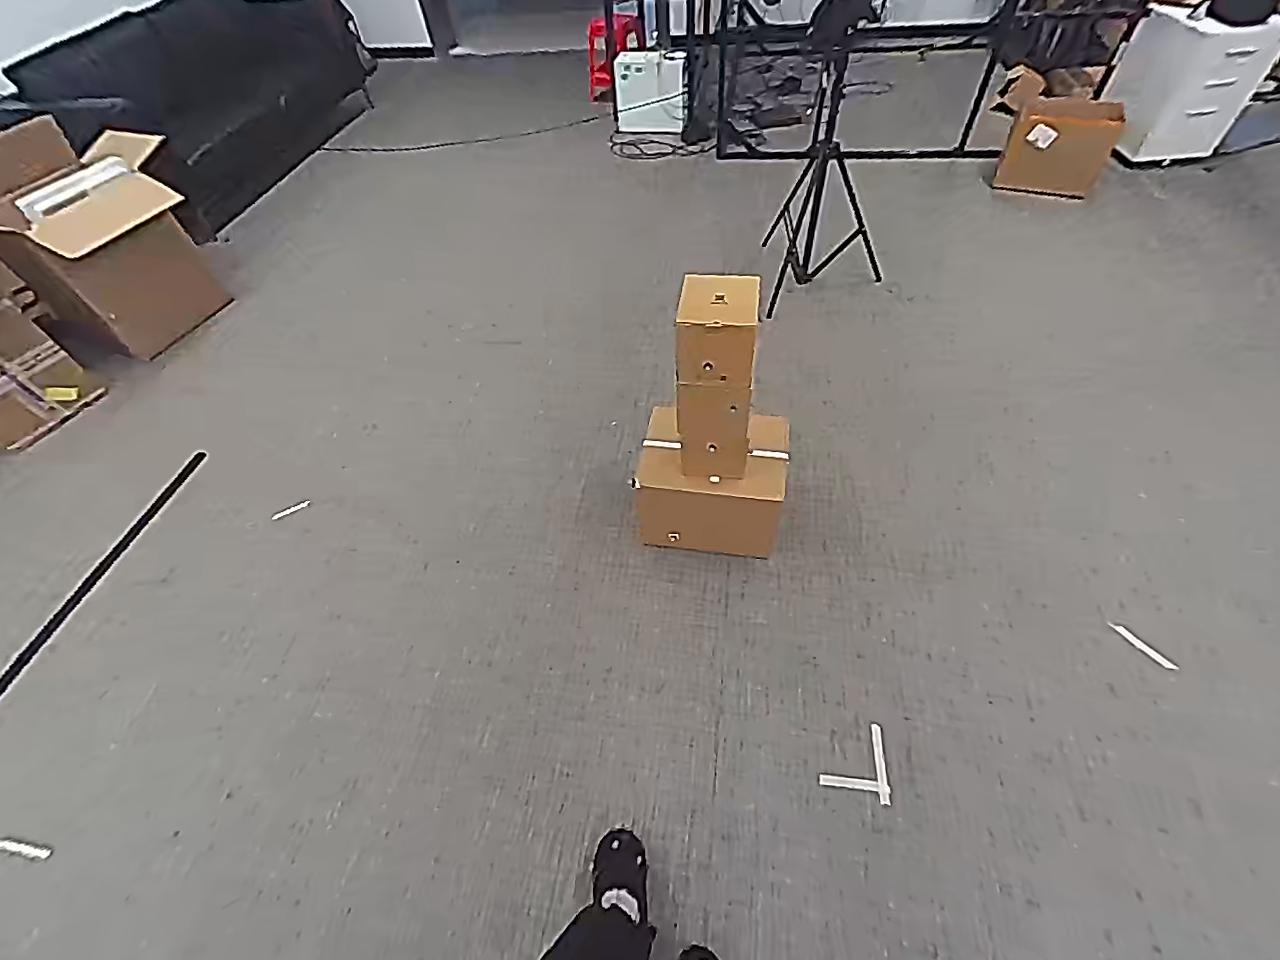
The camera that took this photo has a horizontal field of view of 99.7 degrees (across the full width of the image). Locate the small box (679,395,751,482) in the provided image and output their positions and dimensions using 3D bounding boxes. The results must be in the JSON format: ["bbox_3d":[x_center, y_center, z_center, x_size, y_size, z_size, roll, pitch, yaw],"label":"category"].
[{"bbox_3d":[0.202,-0.109,1.456,0.179,0.176,0.168,5,54,8],"label":"small box"}]

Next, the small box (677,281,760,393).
[{"bbox_3d":[0.172,-0.319,1.206,0.168,0.176,0.179,5,54,8],"label":"small box"}]
